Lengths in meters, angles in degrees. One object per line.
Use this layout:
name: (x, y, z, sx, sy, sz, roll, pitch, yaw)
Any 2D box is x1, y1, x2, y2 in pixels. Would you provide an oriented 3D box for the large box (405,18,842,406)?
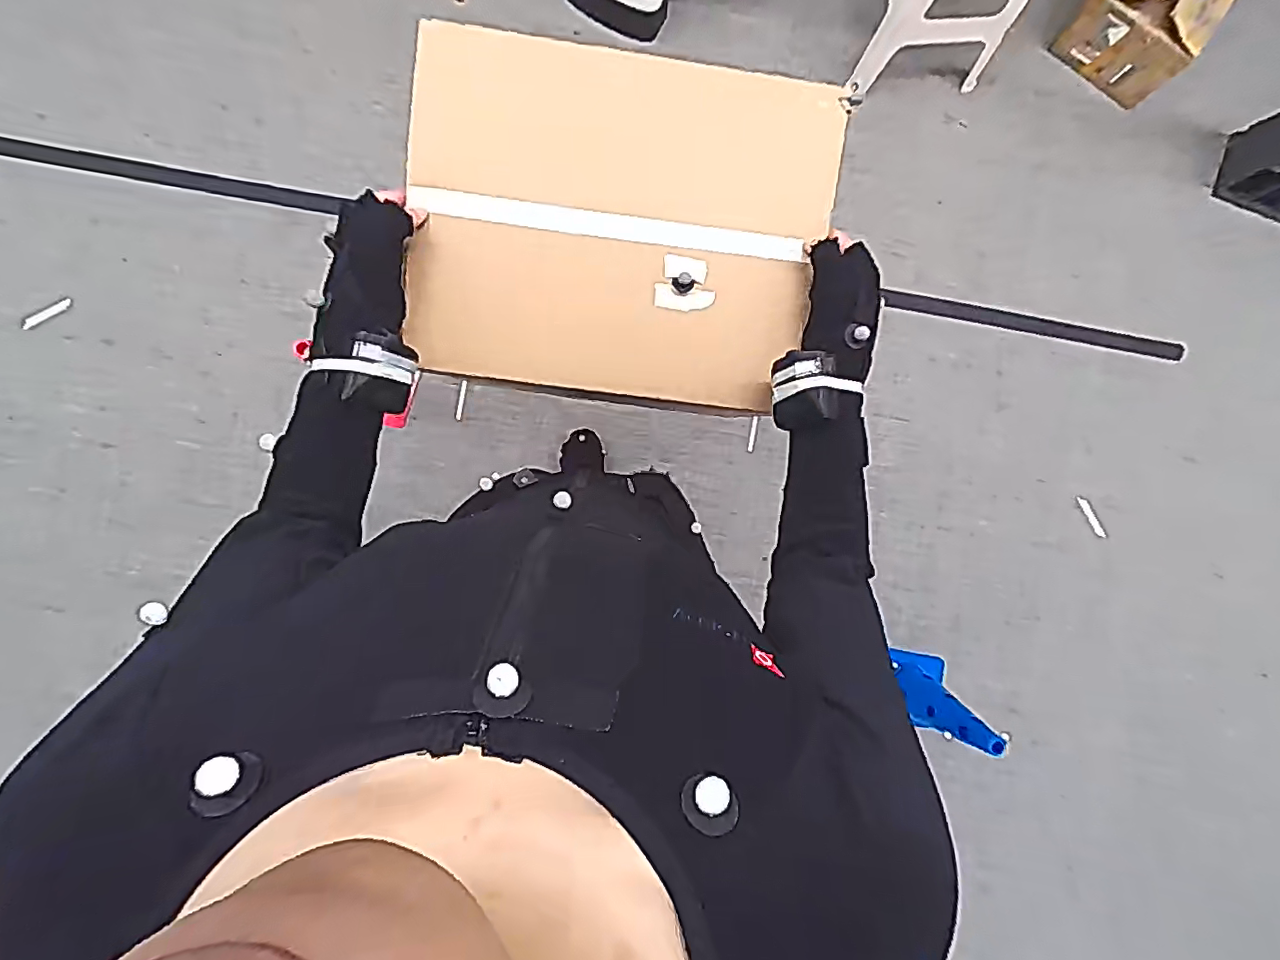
large box: (-0.027, -0.270, 0.670, 0.408, 0.320, 0.320, 7, 97, -4)

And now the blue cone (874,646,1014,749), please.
blue cone: (0.762, 0.561, 1.340, 0.192, 0.380, 0.193, 13, 88, -4)

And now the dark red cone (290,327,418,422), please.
dark red cone: (-0.683, -0.272, 1.247, 0.201, 0.394, 0.202, 16, 88, -4)
